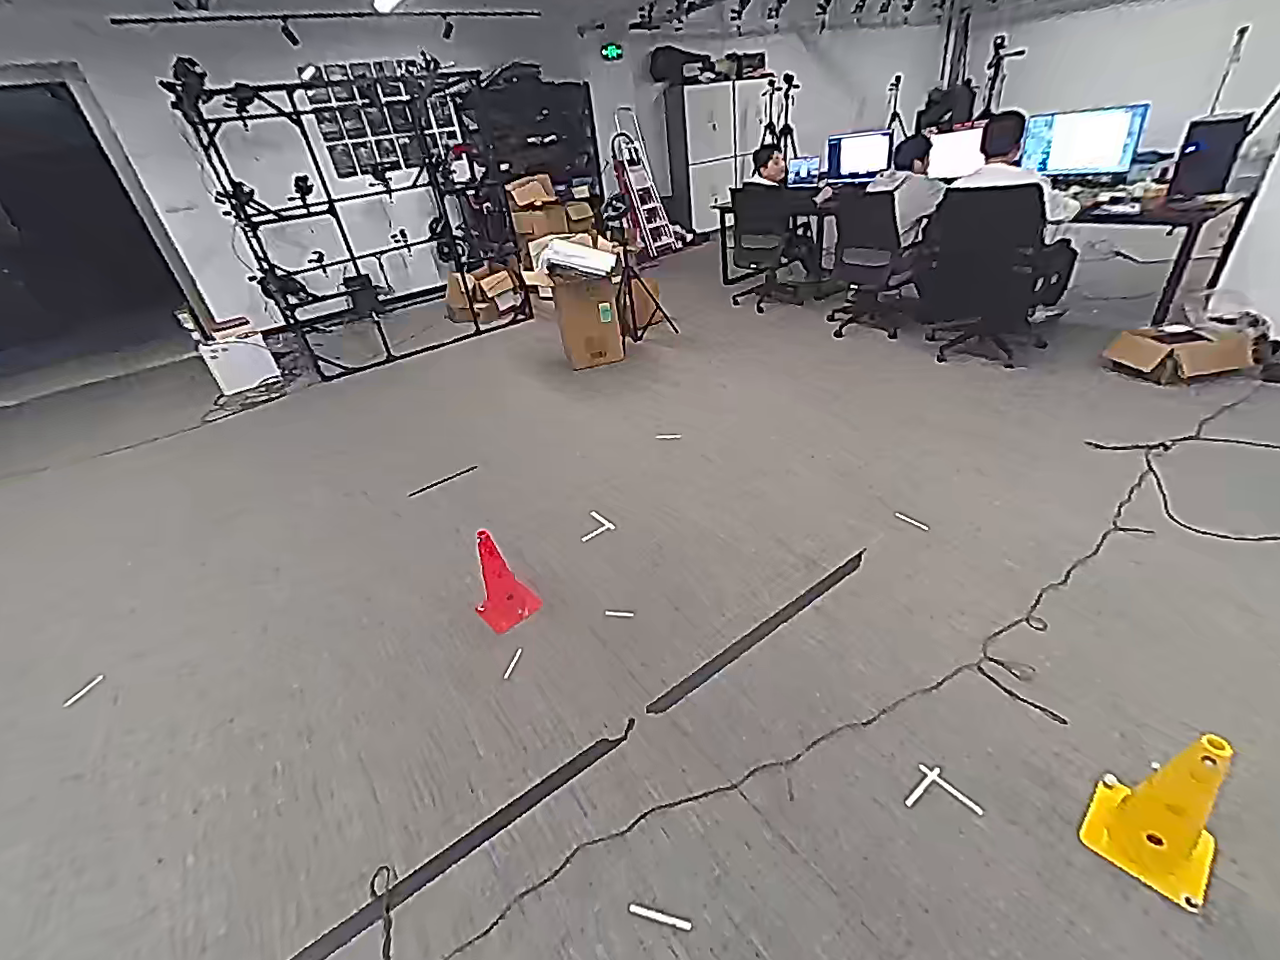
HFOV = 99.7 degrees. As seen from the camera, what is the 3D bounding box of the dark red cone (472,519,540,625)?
[{"bbox_3d":[-0.515,0.306,1.915,0.202,0.394,0.201,-32,40,-32],"label":"dark red cone"}]
